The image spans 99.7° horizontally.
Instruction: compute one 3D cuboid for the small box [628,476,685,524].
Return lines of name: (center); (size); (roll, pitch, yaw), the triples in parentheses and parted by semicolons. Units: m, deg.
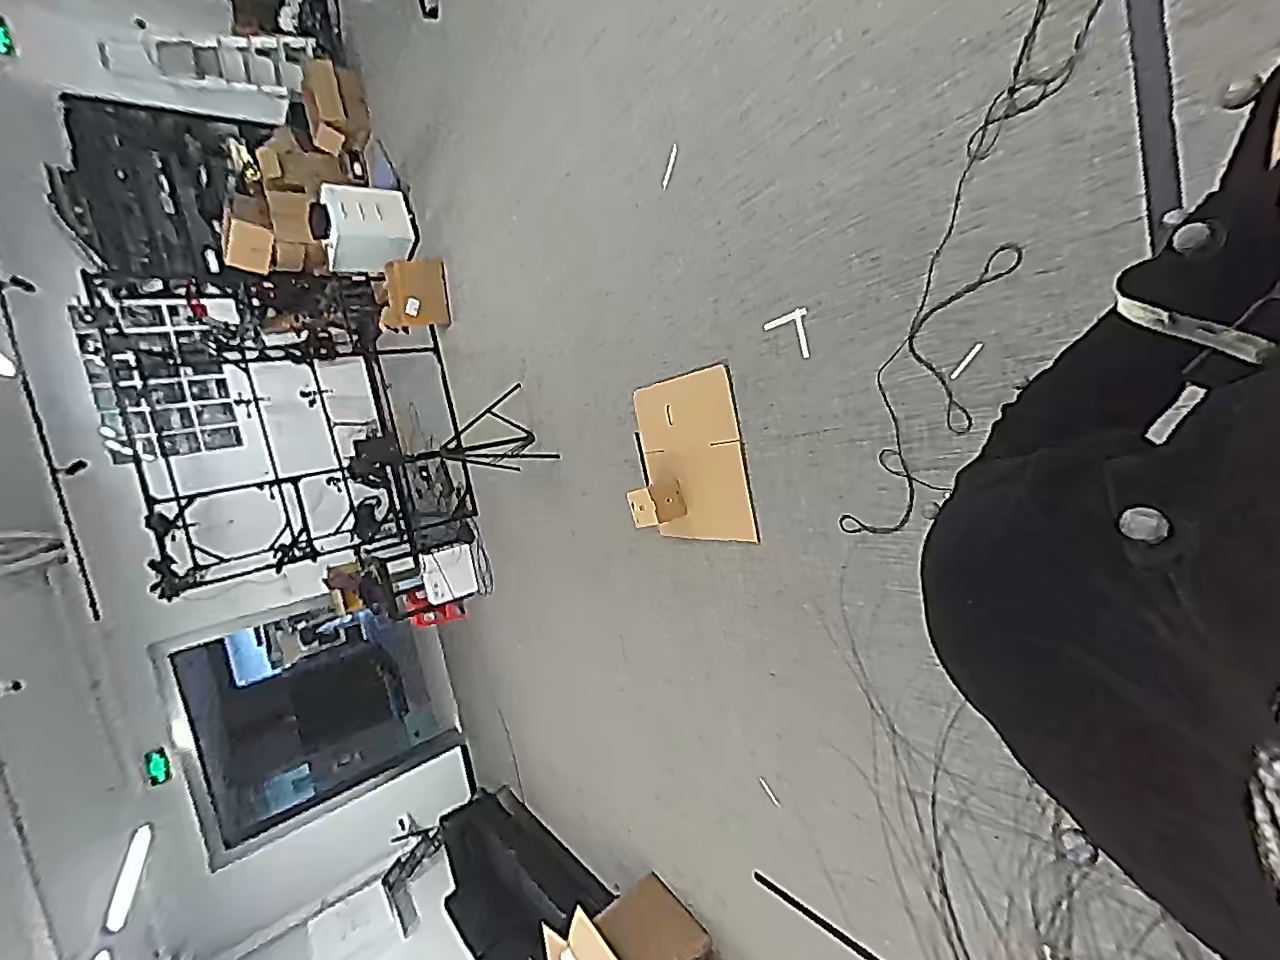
small box: (0.079, 0.087, 2.388); (0.179, 0.176, 0.168); (-16, 89, 54)
